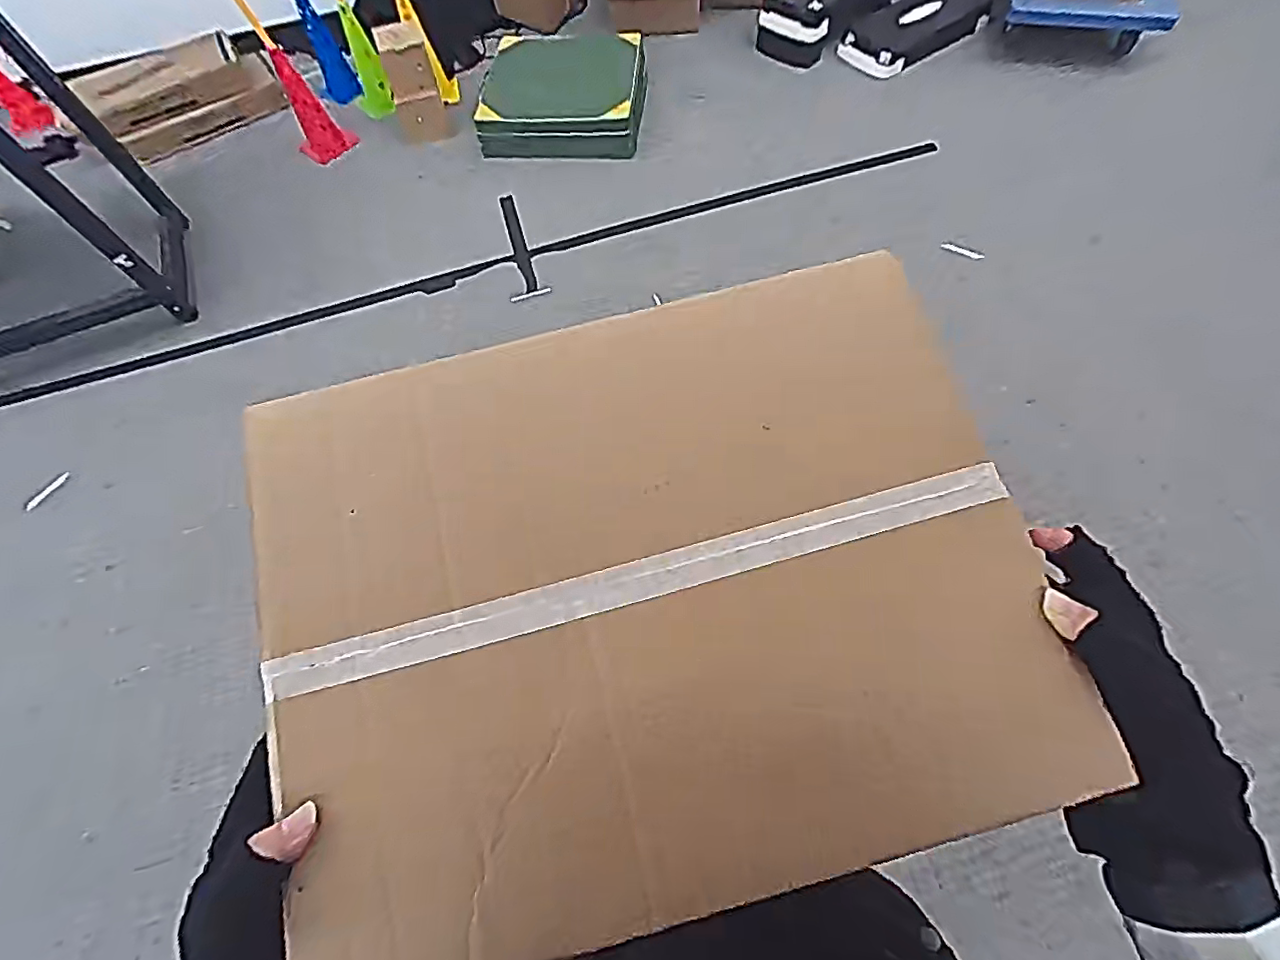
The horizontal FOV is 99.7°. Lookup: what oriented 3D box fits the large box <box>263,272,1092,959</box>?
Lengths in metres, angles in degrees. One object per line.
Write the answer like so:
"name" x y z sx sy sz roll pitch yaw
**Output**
"large box" 0.006 0.097 0.444 0.408 0.320 0.320 -15 74 -2
